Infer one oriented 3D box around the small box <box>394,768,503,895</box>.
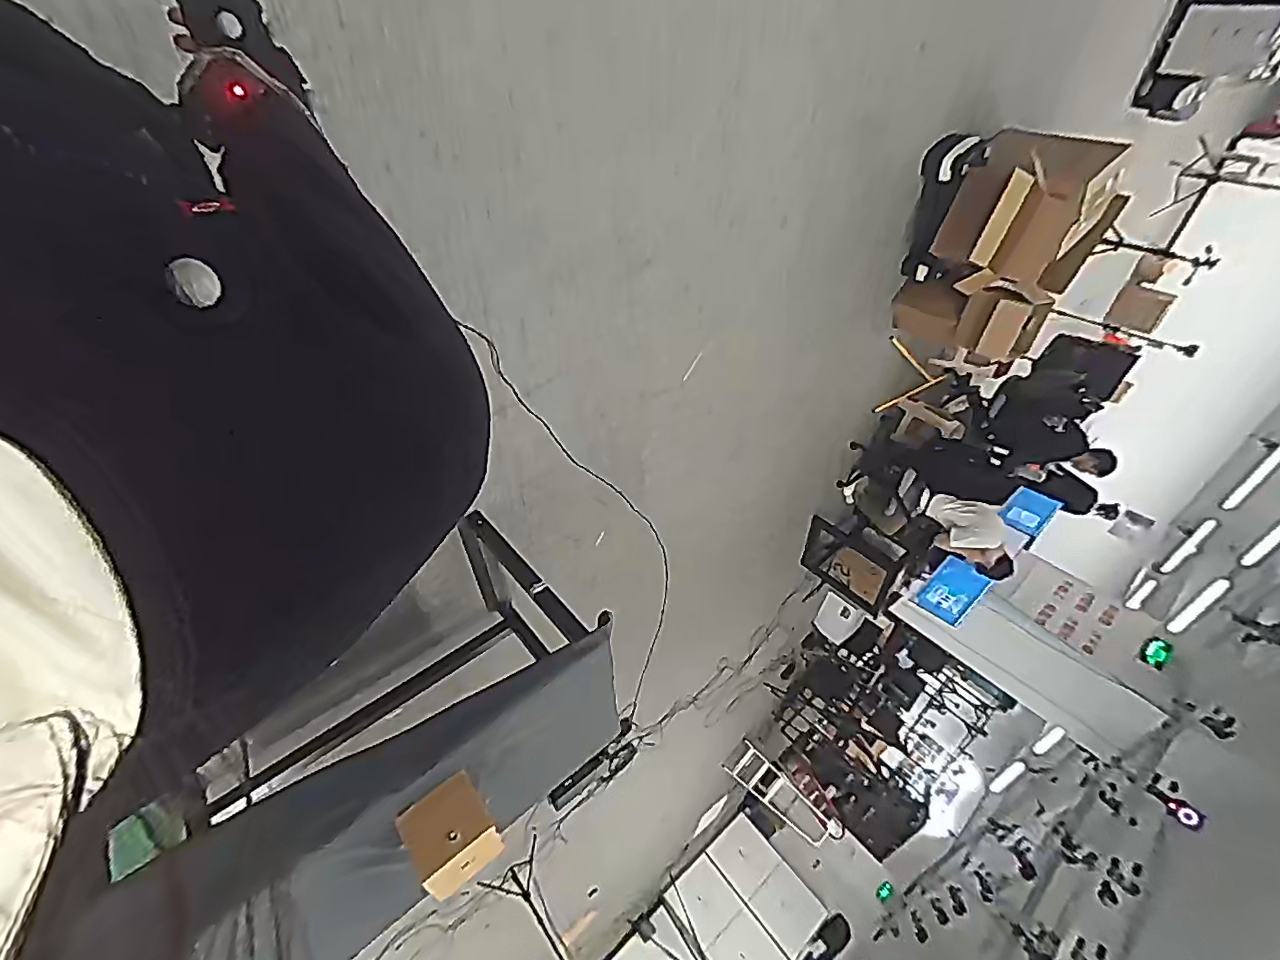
[{"bbox_3d":[-0.460,0.841,1.308,0.179,0.176,0.168,-29,139,-29],"label":"small box"}]
